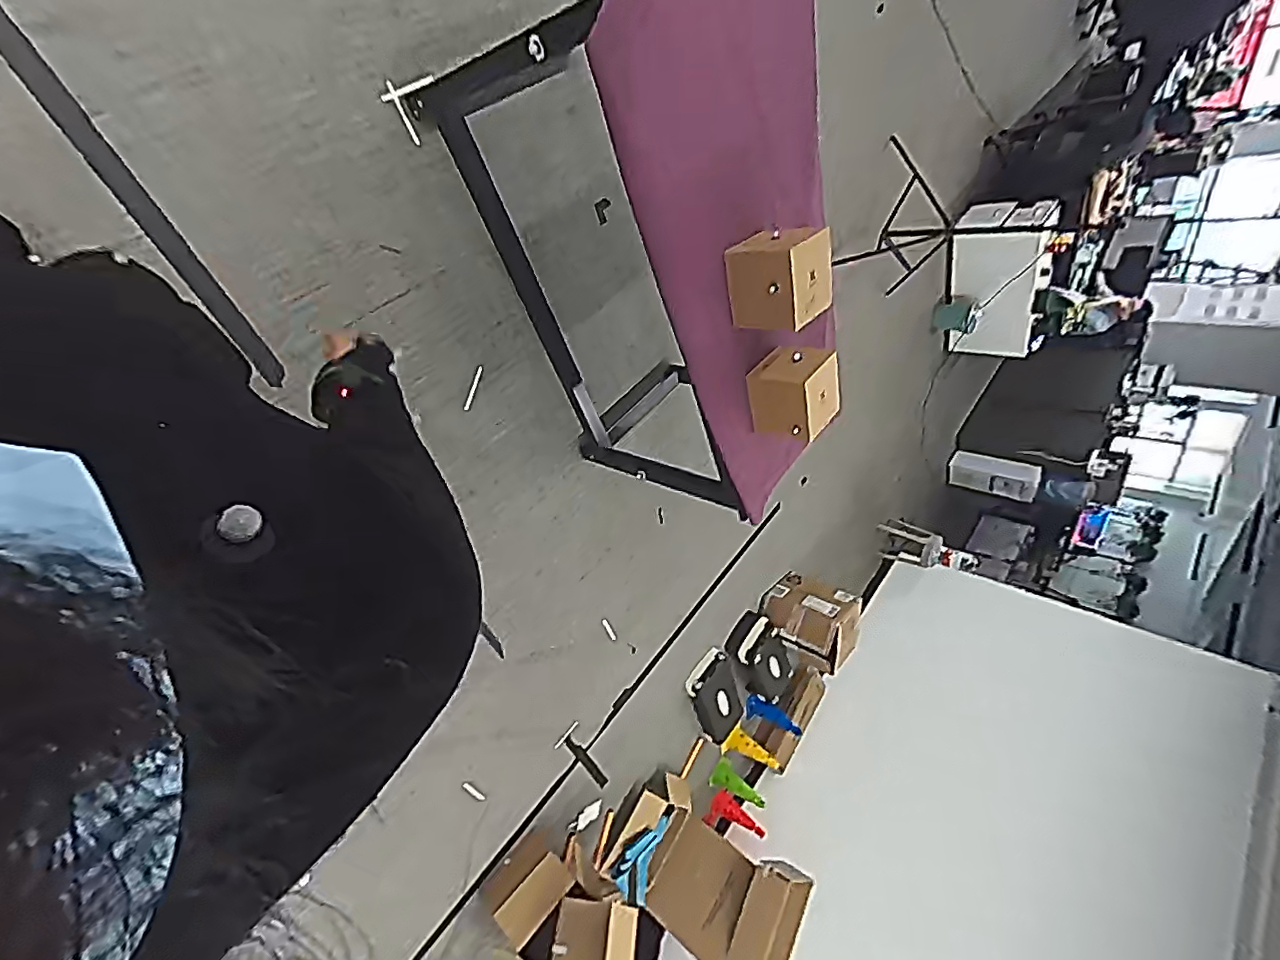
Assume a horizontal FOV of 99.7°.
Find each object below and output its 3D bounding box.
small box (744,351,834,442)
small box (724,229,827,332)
[{"bbox_3d":[0.386,-0.223,1.403,0.168,0.176,0.179,-43,133,-30],"label":"small box"},{"bbox_3d":[0.306,-0.452,1.226,0.168,0.176,0.179,-38,130,-31],"label":"small box"}]
